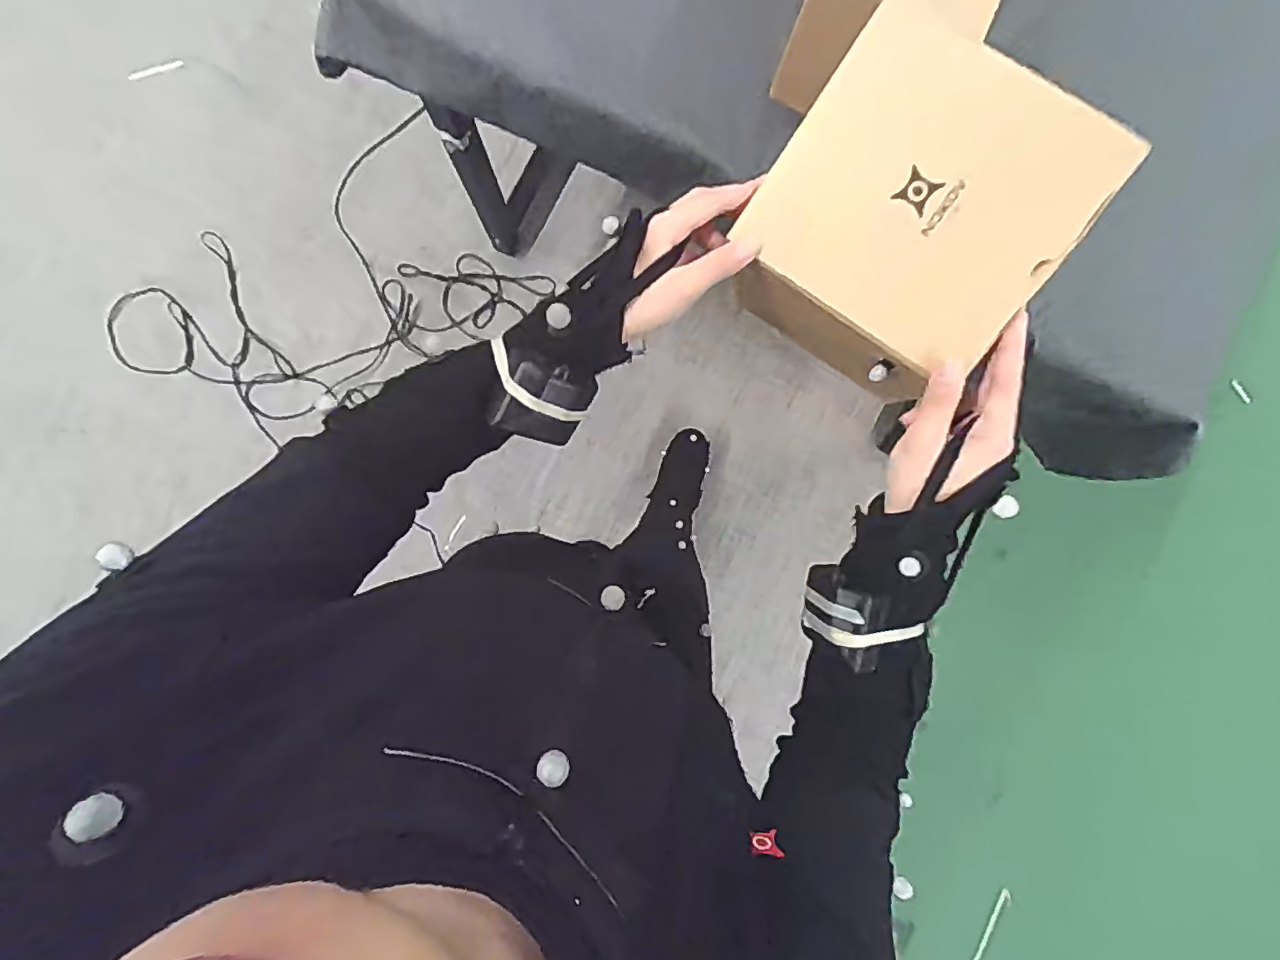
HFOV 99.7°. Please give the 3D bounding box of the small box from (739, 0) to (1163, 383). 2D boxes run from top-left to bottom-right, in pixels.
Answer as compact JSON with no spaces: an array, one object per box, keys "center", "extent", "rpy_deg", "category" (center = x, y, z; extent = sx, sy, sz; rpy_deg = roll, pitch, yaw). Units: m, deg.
[{"center":[0.189,-0.184,0.398],"extent":[0.179,0.176,0.168],"rpy_deg":[35,101,5],"category":"small box"}]
